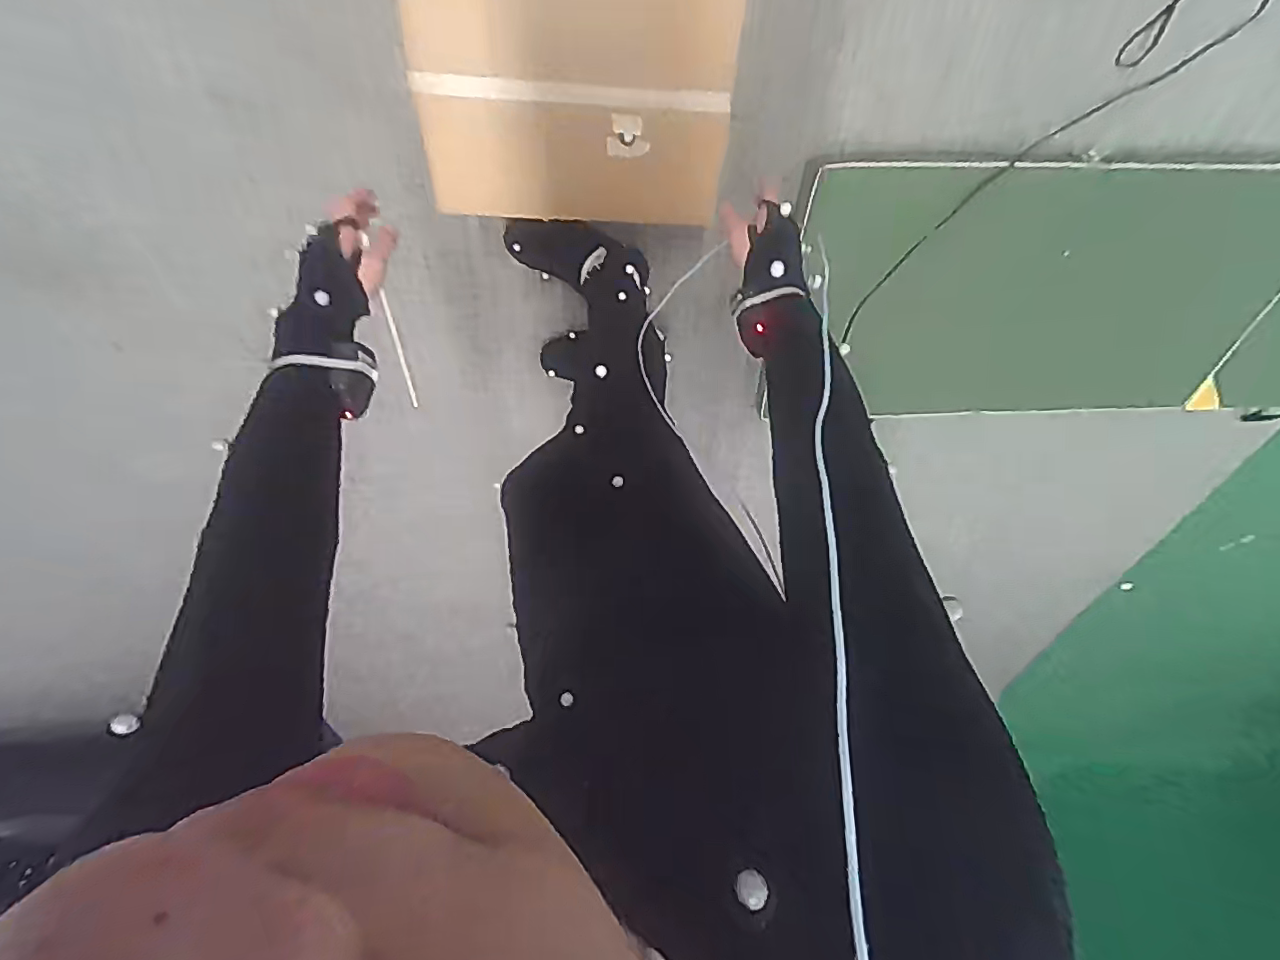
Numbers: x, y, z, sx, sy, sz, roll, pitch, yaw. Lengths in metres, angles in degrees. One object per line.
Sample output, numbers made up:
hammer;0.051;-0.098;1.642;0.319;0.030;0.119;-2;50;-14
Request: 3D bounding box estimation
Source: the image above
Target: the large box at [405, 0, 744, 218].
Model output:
large box;-0.095;-0.602;0.802;0.408;0.320;0.320;-1;133;-7
